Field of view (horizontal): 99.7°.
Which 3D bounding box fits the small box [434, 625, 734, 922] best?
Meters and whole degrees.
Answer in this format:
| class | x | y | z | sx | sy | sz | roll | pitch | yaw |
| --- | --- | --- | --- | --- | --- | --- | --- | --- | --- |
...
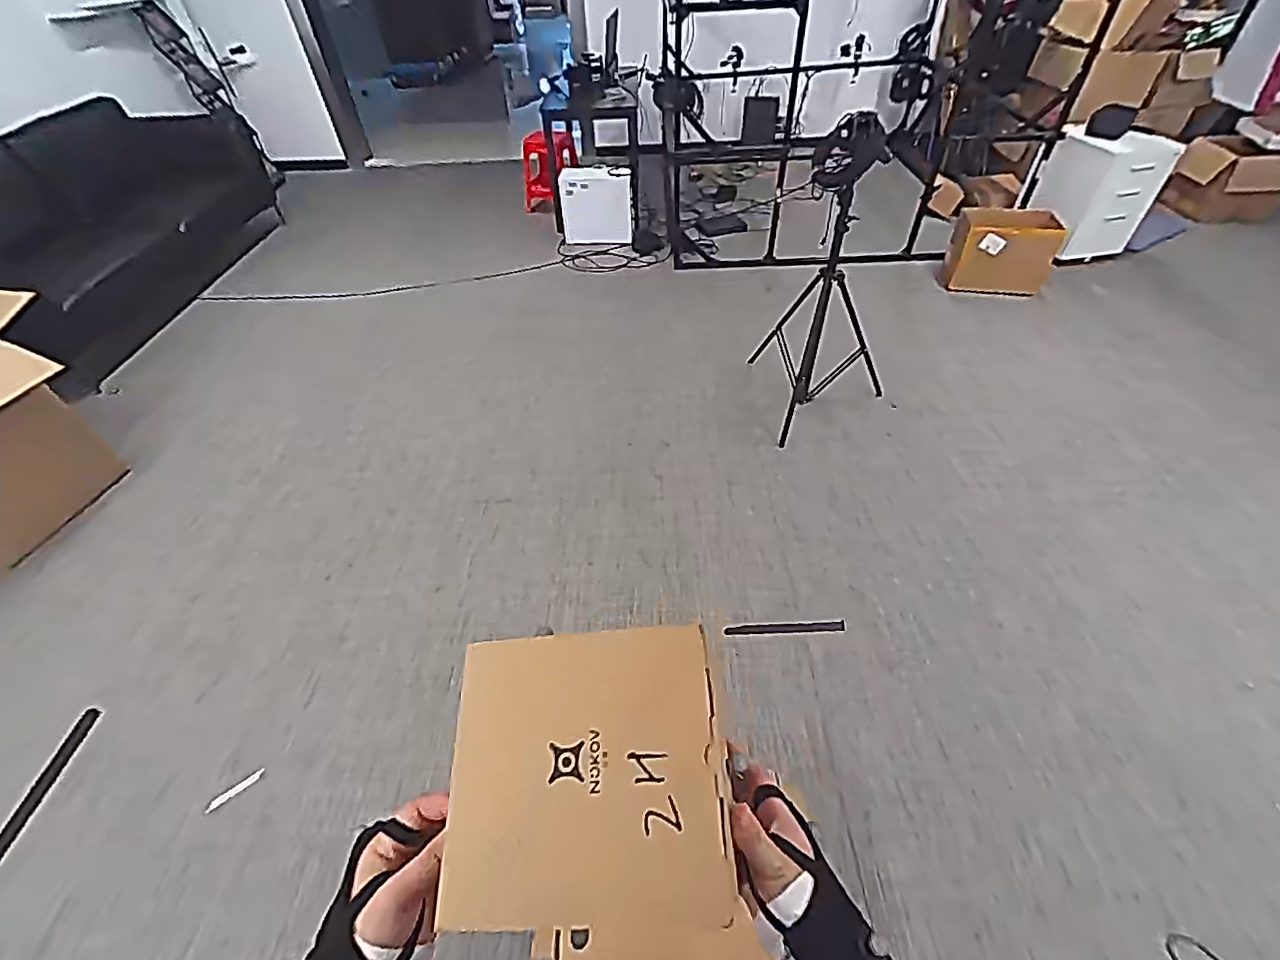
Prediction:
| class | x | y | z | sx | sy | sz | roll | pitch | yaw |
| --- | --- | --- | --- | --- | --- | --- | --- | --- | --- |
| small box | -0.027 | 0.221 | 0.416 | 0.179 | 0.176 | 0.168 | -8 | 60 | 7 |
